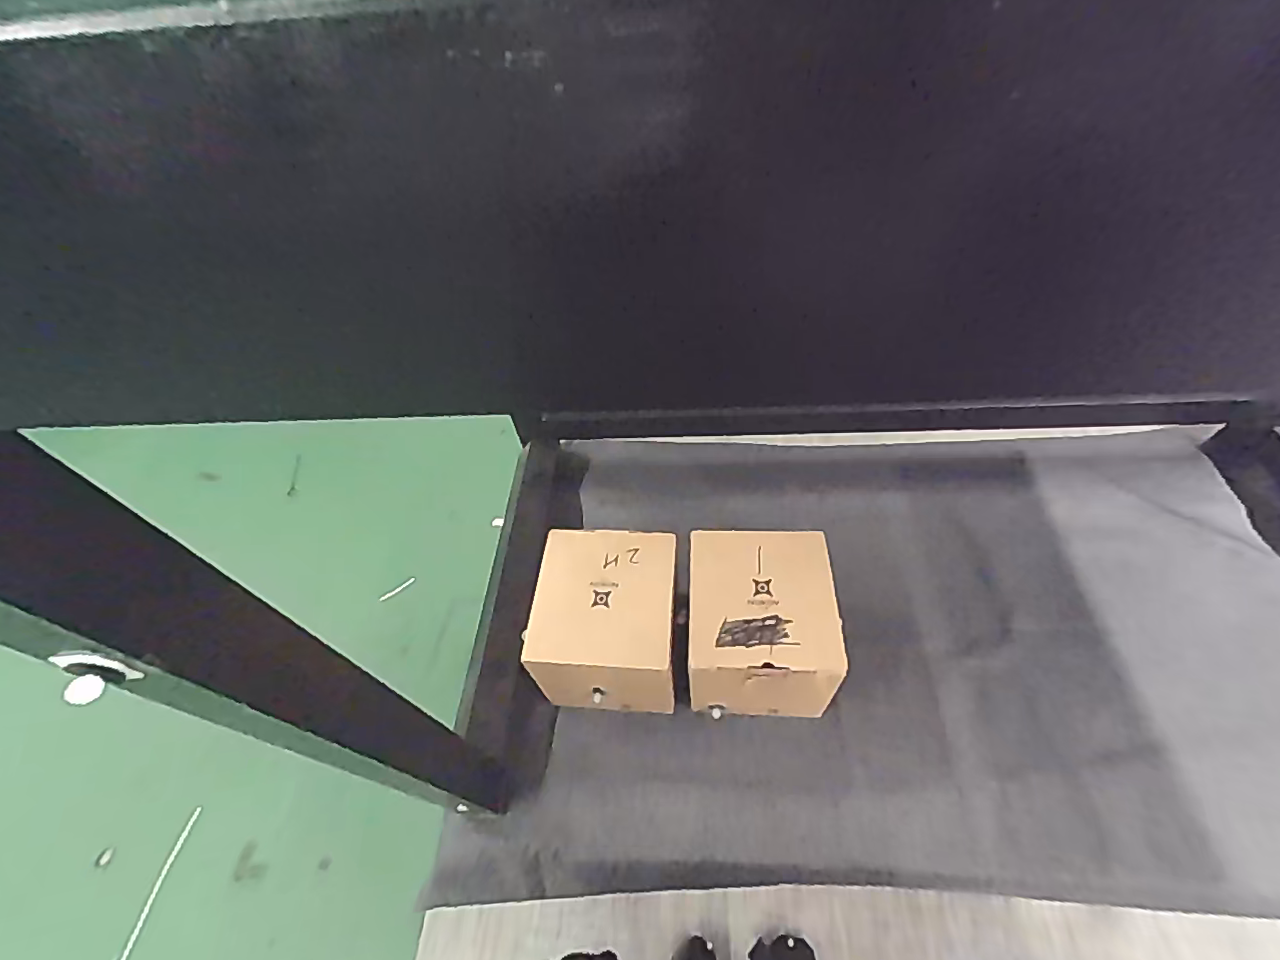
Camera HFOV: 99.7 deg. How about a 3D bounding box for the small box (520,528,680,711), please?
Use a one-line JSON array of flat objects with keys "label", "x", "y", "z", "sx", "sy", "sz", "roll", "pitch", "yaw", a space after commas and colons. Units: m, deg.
[{"label": "small box", "x": -0.037, "y": 0.182, "z": 0.692, "sx": 0.168, "sy": 0.176, "sz": 0.179, "roll": 2, "pitch": 52, "yaw": 7}]
